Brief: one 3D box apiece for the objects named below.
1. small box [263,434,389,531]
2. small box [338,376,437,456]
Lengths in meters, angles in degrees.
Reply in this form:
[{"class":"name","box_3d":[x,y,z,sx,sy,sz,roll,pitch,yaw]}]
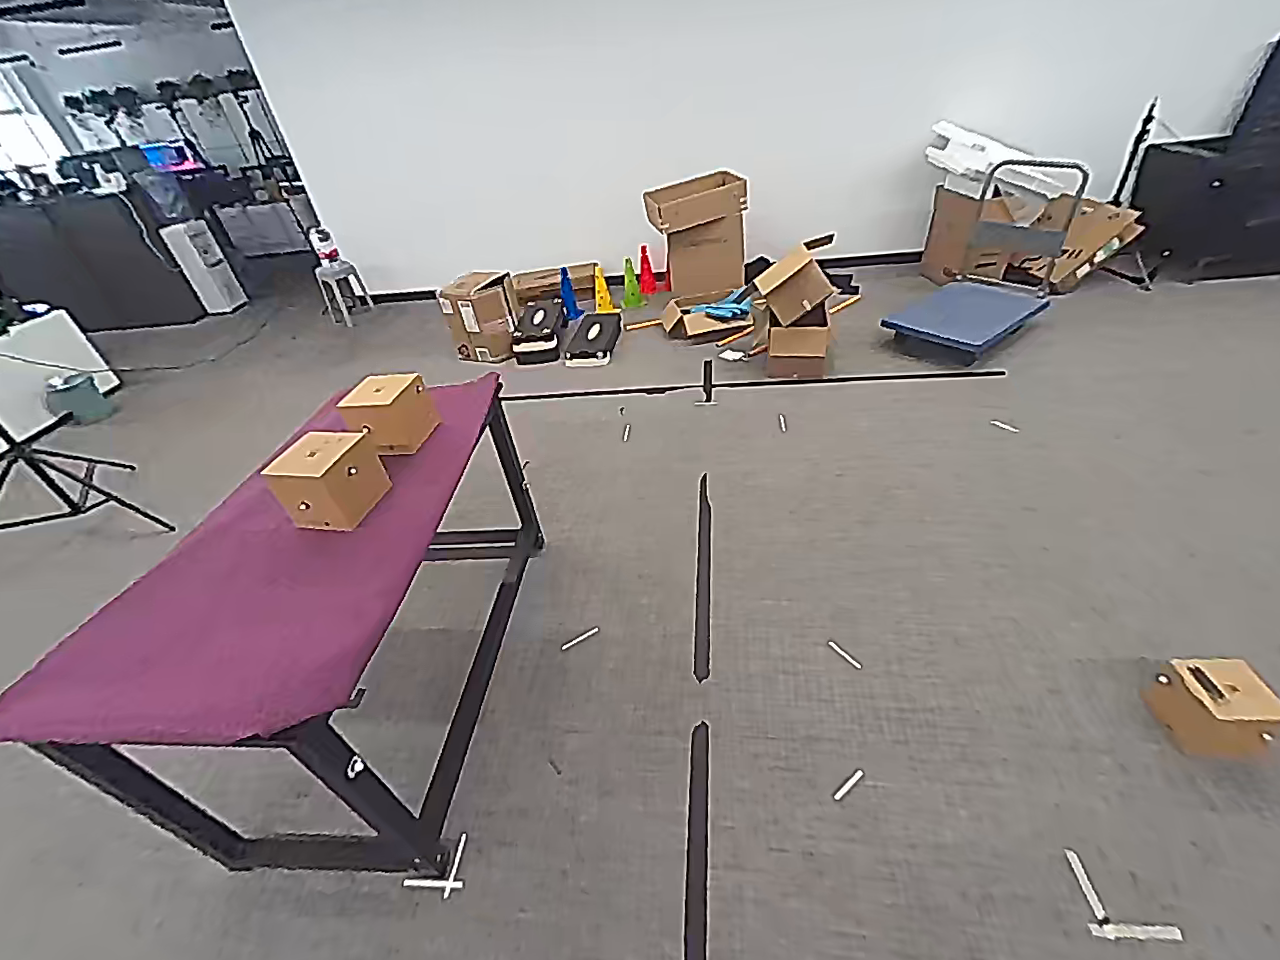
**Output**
[{"class":"small box","box_3d":[-0.745,0.006,1.307,0.168,0.176,0.179,3,38,13]},{"class":"small box","box_3d":[-0.707,-0.178,1.541,0.168,0.176,0.179,-1,38,11]}]
